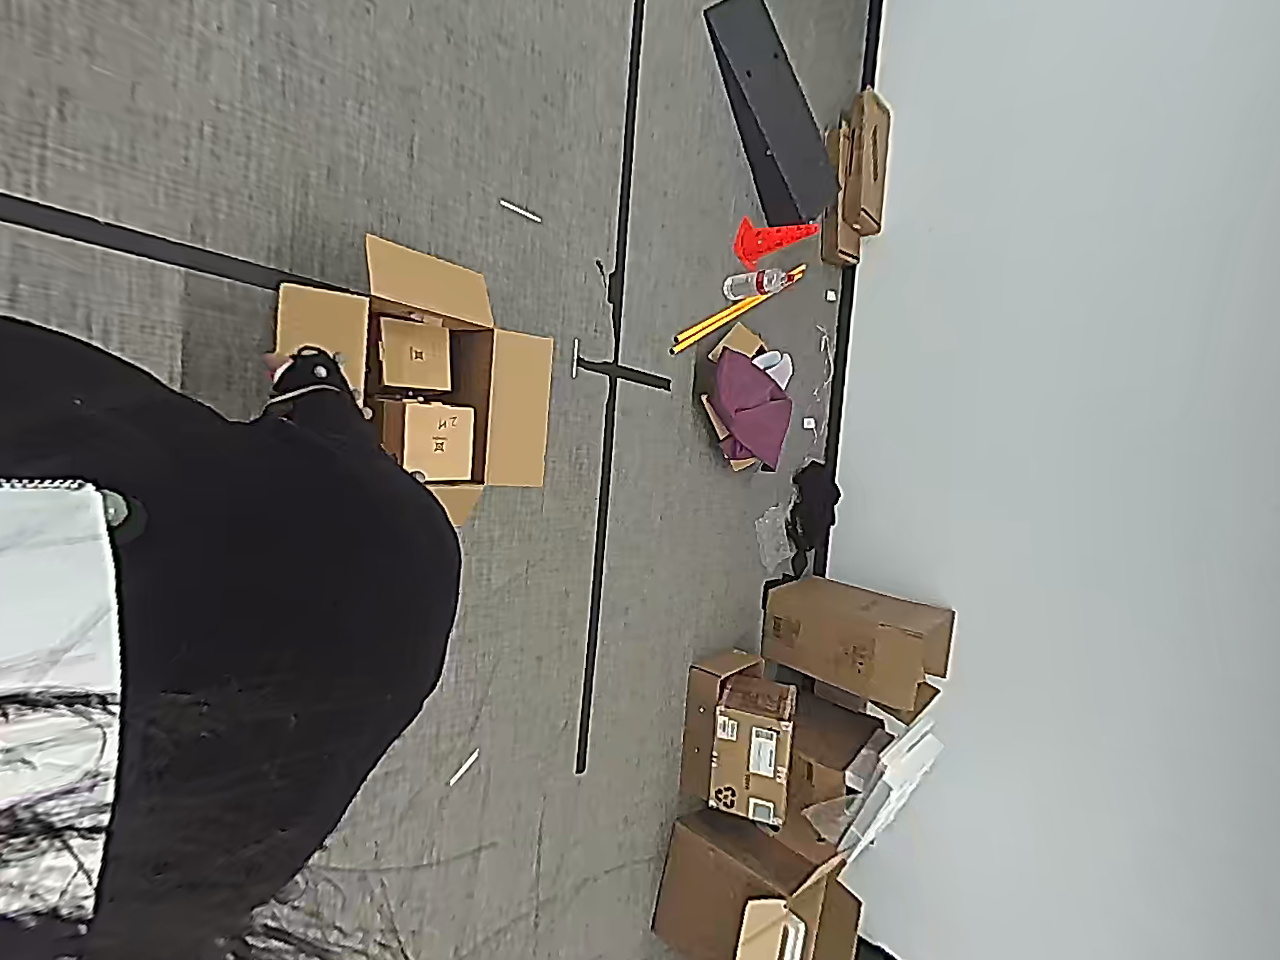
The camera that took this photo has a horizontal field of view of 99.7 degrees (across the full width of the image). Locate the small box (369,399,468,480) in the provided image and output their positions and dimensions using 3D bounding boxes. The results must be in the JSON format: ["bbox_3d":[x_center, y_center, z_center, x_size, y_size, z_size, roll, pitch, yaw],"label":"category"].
[{"bbox_3d":[-0.530,-0.096,1.289,0.168,0.176,0.179,-2,98,-47],"label":"small box"}]
